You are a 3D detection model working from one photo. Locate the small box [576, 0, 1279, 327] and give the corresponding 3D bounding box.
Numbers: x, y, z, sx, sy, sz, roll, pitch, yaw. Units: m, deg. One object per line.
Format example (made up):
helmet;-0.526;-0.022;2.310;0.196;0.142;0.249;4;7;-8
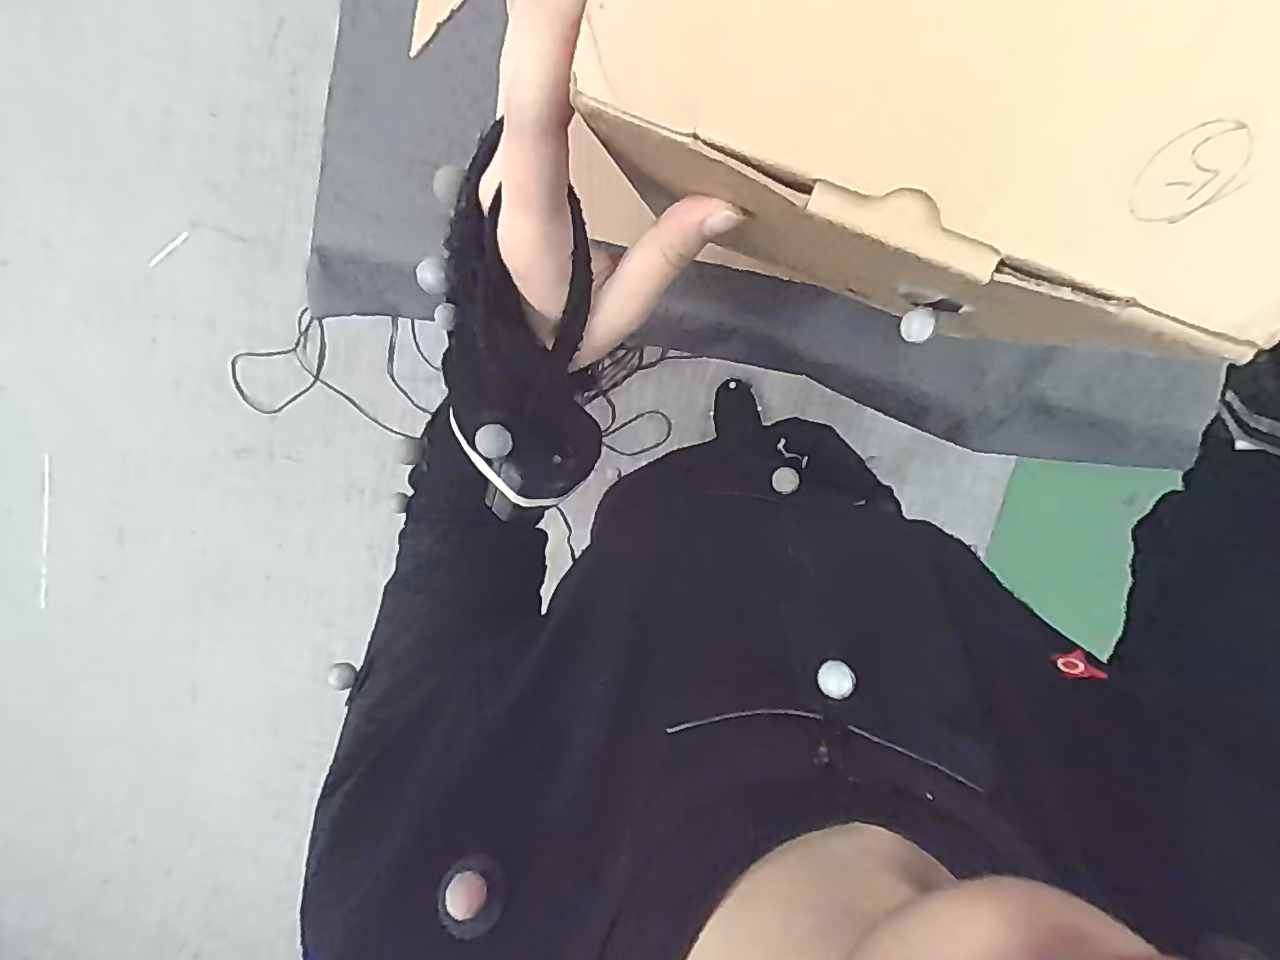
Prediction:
small box;0.101;-0.160;0.163;0.168;0.176;0.179;22;108;1
